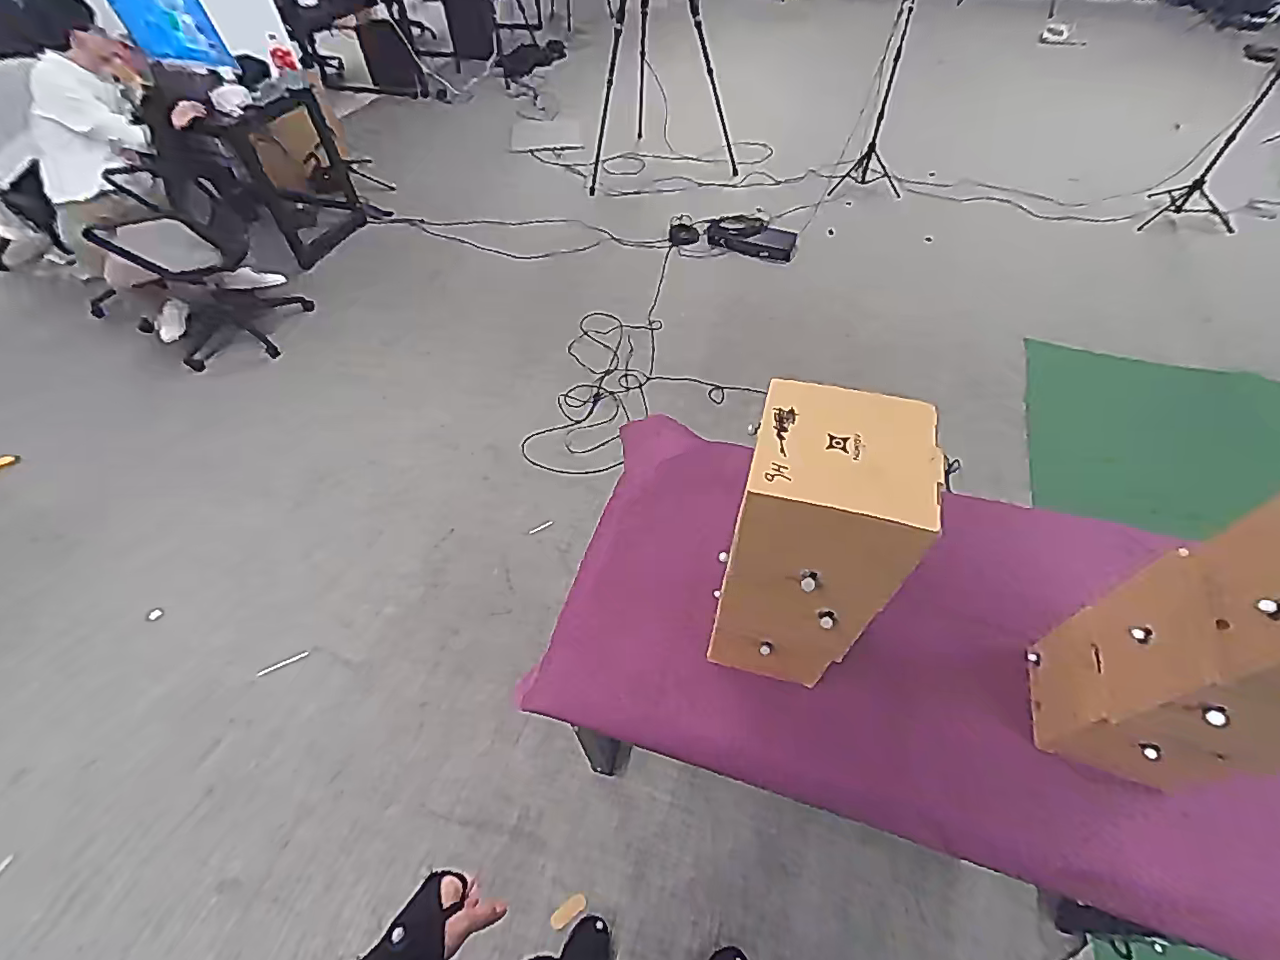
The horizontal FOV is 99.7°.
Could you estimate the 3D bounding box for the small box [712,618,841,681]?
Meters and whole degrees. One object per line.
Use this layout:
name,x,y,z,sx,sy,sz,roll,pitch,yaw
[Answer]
small box,0.221,0.208,0.875,0.179,0.176,0.168,11,54,12

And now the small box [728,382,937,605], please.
small box,0.206,0.020,0.605,0.179,0.176,0.168,13,53,12

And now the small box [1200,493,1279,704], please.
small box,0.679,0.121,0.499,0.179,0.176,0.168,17,55,16

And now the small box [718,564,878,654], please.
small box,0.213,0.118,0.736,0.179,0.176,0.168,13,53,13

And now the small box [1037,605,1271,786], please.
small box,0.697,0.309,0.767,0.179,0.176,0.168,15,54,14
